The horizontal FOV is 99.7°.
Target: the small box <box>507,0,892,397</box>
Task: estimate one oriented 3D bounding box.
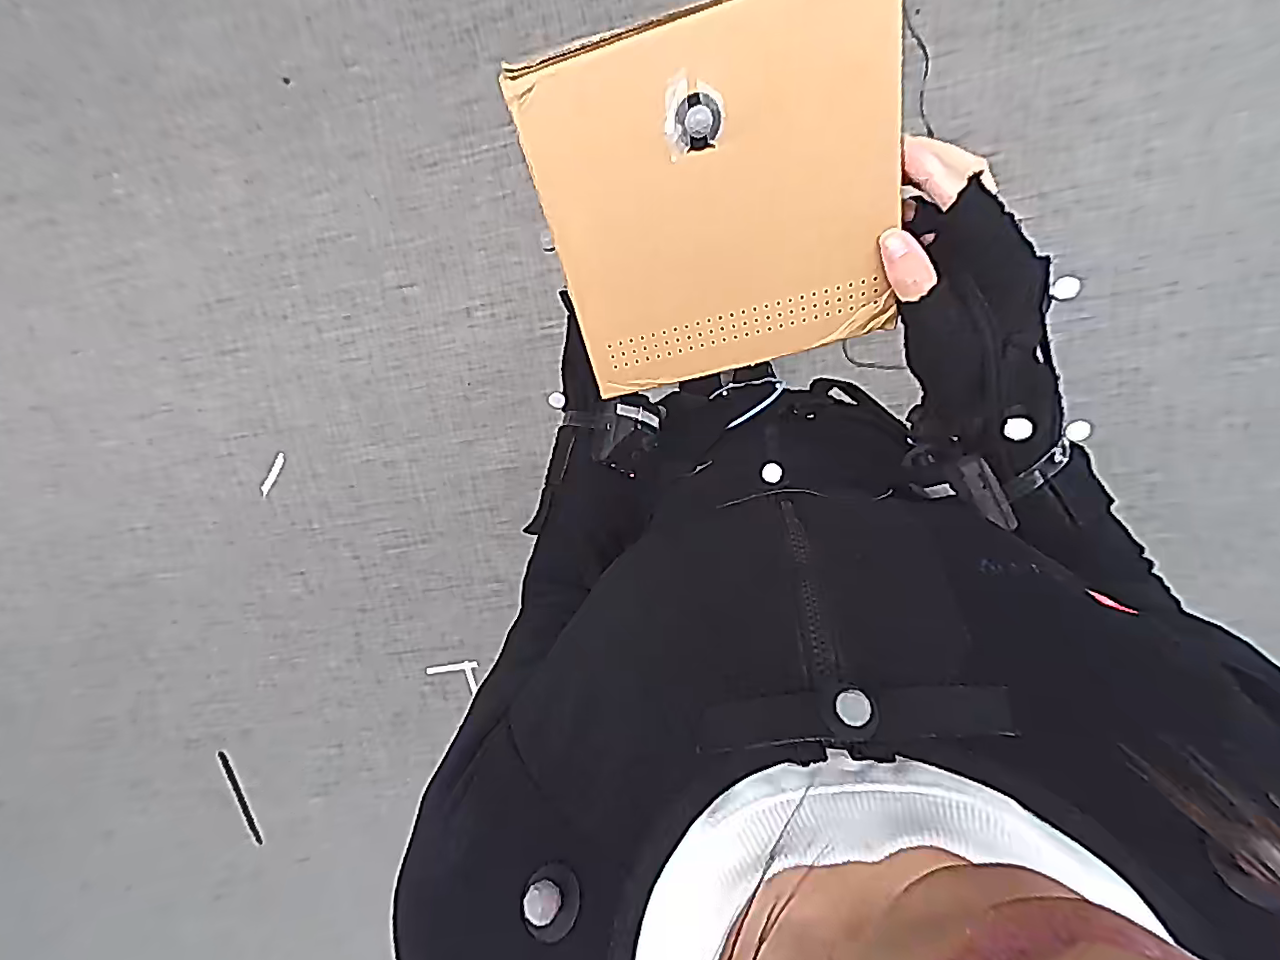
[{"bbox_3d":[0.043,-0.170,0.343,0.179,0.168,0.176,-12,123,8],"label":"small box"}]
